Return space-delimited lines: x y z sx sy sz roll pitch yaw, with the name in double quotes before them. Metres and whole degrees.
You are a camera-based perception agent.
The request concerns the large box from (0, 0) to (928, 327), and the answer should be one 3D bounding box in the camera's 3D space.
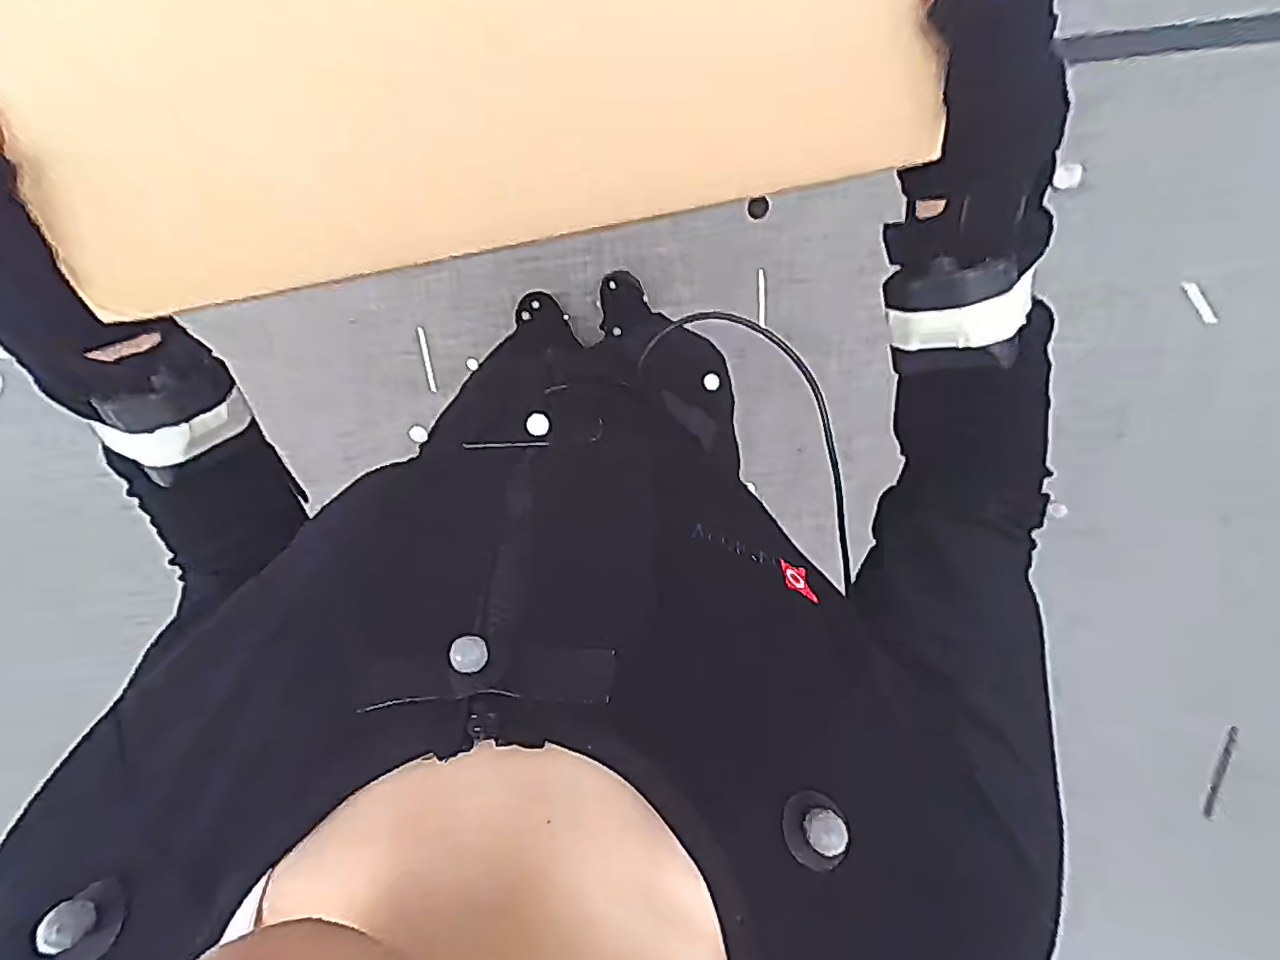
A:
"large box" -0.097 -0.320 0.315 0.408 0.320 0.320 -11 121 2
